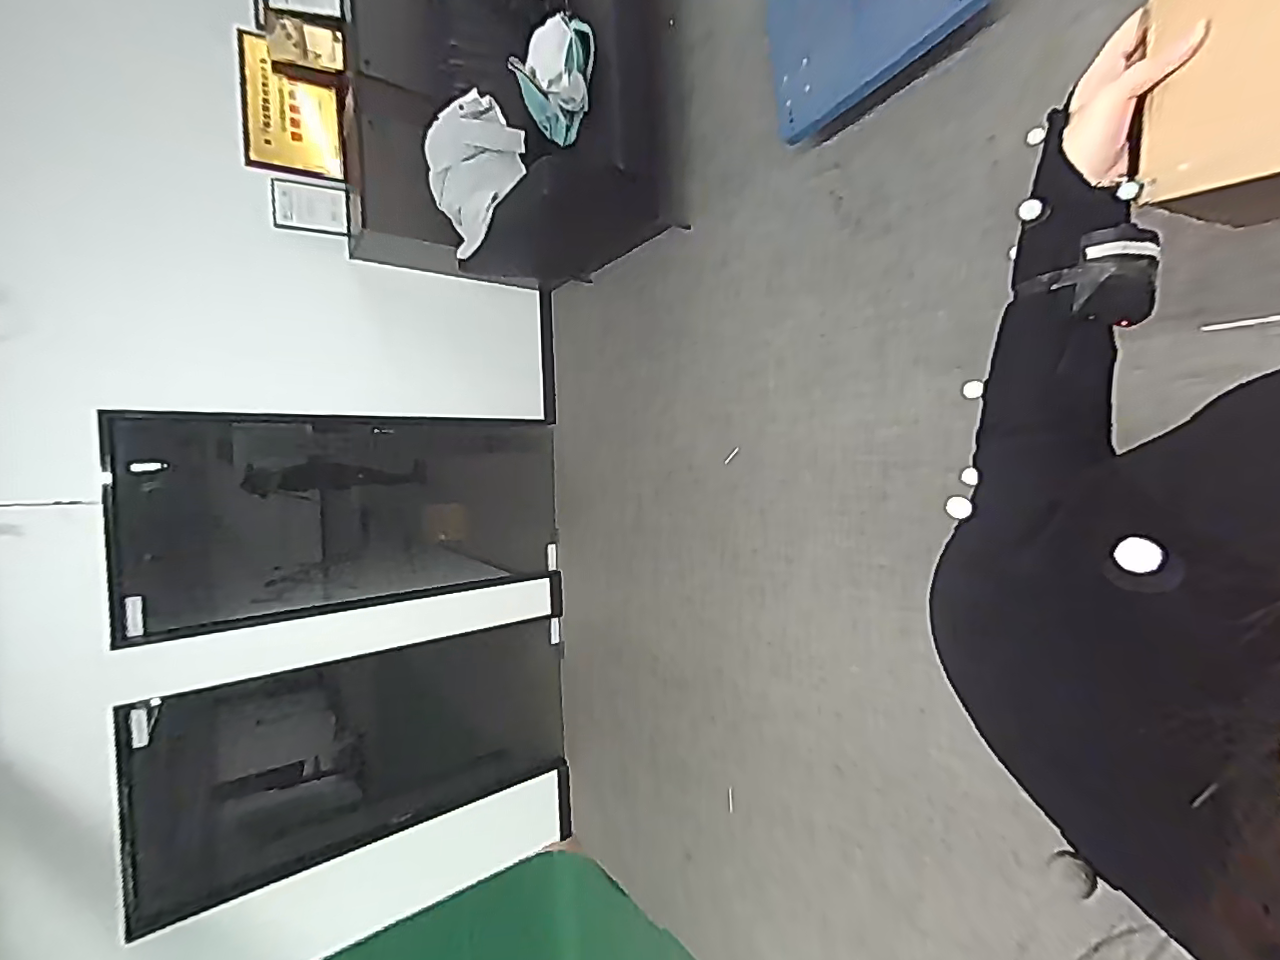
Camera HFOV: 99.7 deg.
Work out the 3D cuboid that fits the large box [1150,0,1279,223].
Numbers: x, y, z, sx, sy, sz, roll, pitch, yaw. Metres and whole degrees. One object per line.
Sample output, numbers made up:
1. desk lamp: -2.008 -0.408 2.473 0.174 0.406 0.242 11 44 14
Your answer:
1. large box: 0.613 -0.373 0.308 0.408 0.320 0.320 9 108 57
